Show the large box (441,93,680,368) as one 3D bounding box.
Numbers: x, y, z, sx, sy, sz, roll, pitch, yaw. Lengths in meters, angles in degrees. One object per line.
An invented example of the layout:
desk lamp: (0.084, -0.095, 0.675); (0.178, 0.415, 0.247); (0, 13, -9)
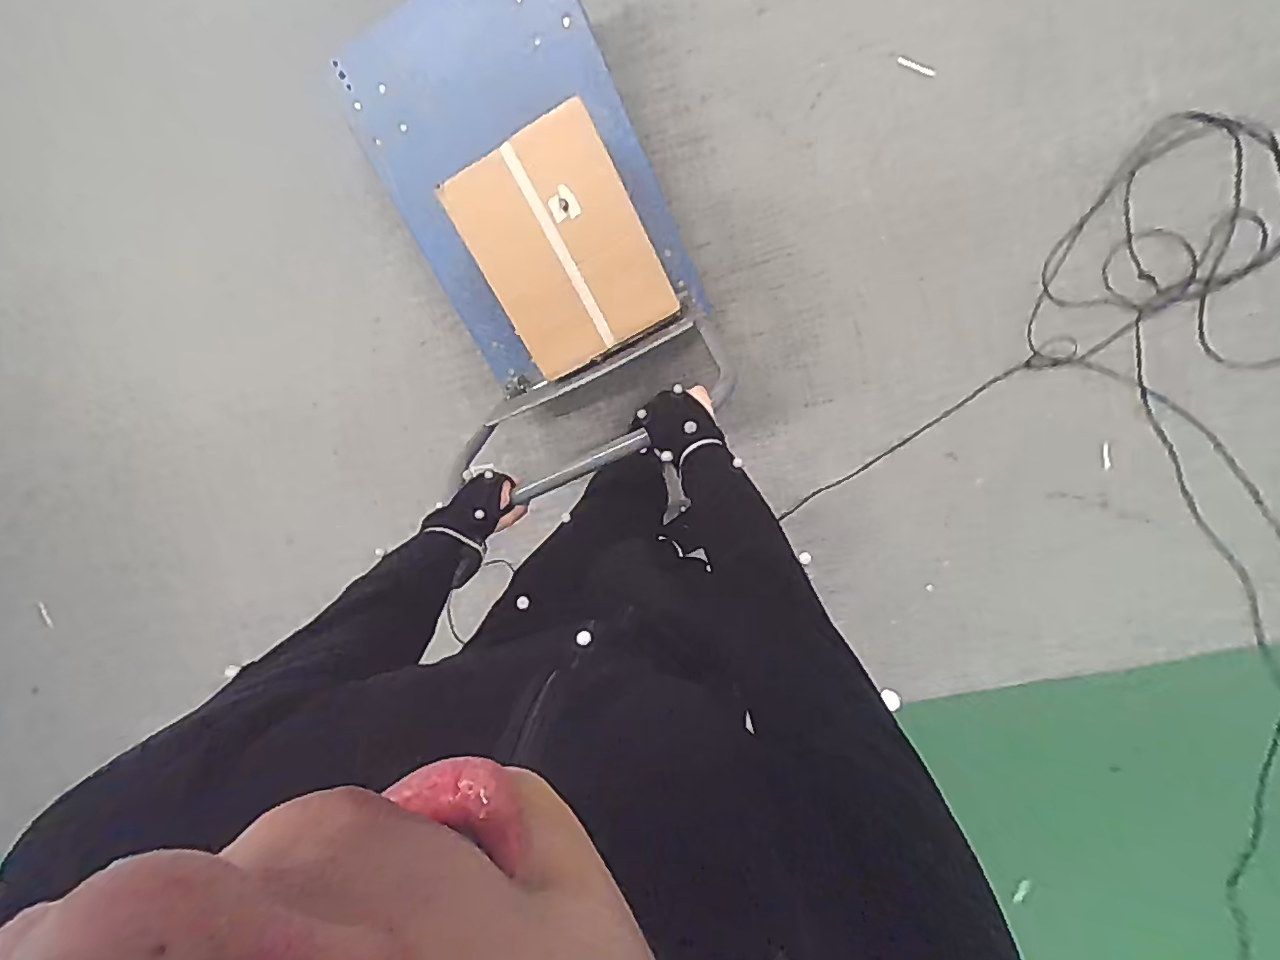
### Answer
large box: (-0.139, -0.513, 1.180); (0.320, 0.320, 0.408); (-26, 109, 12)
